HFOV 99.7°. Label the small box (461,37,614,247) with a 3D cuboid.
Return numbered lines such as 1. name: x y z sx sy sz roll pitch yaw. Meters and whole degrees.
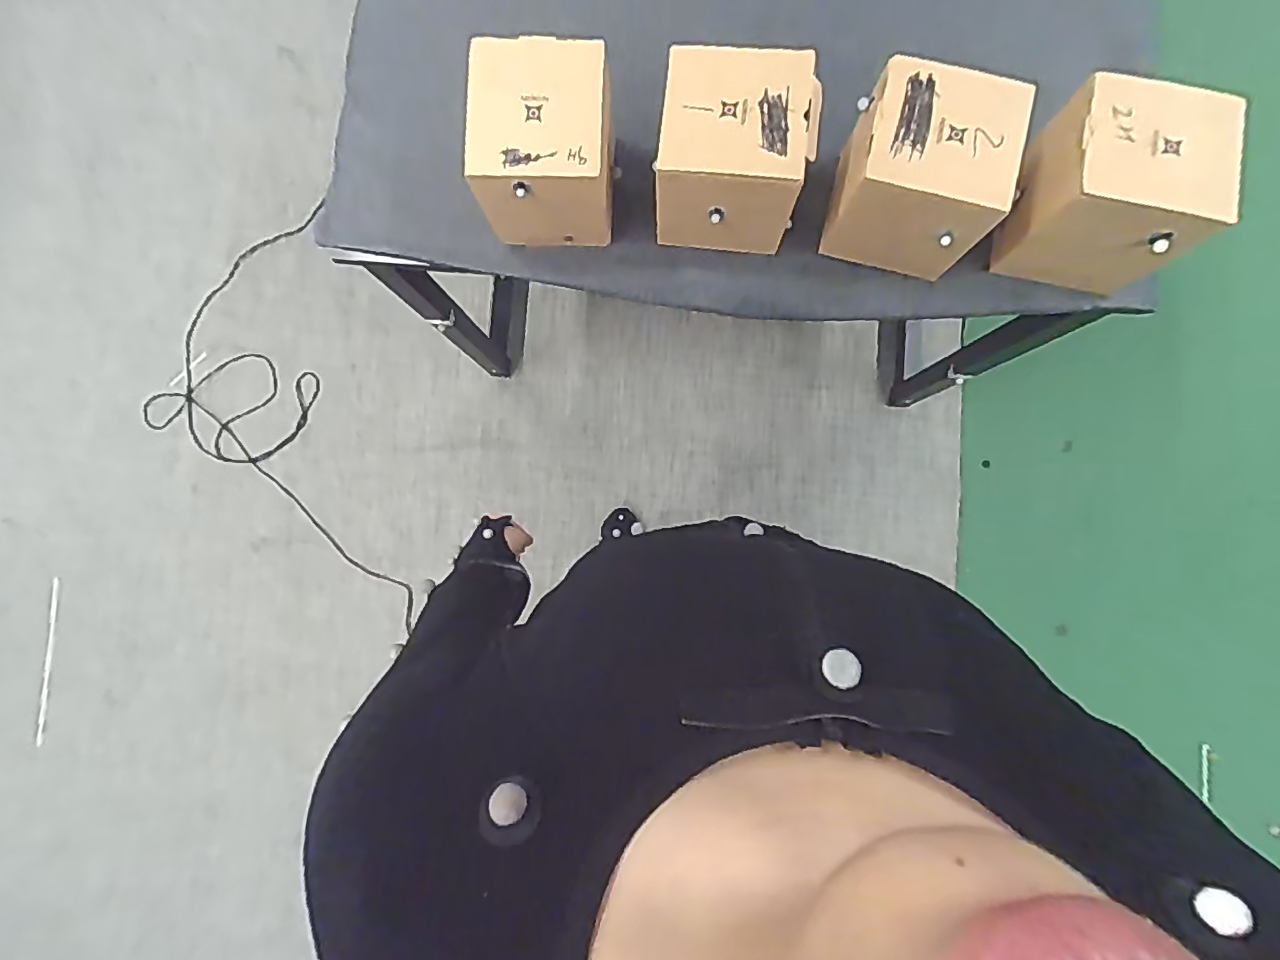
1. small box: -0.125 -0.442 0.726 0.168 0.176 0.179 2 86 3
